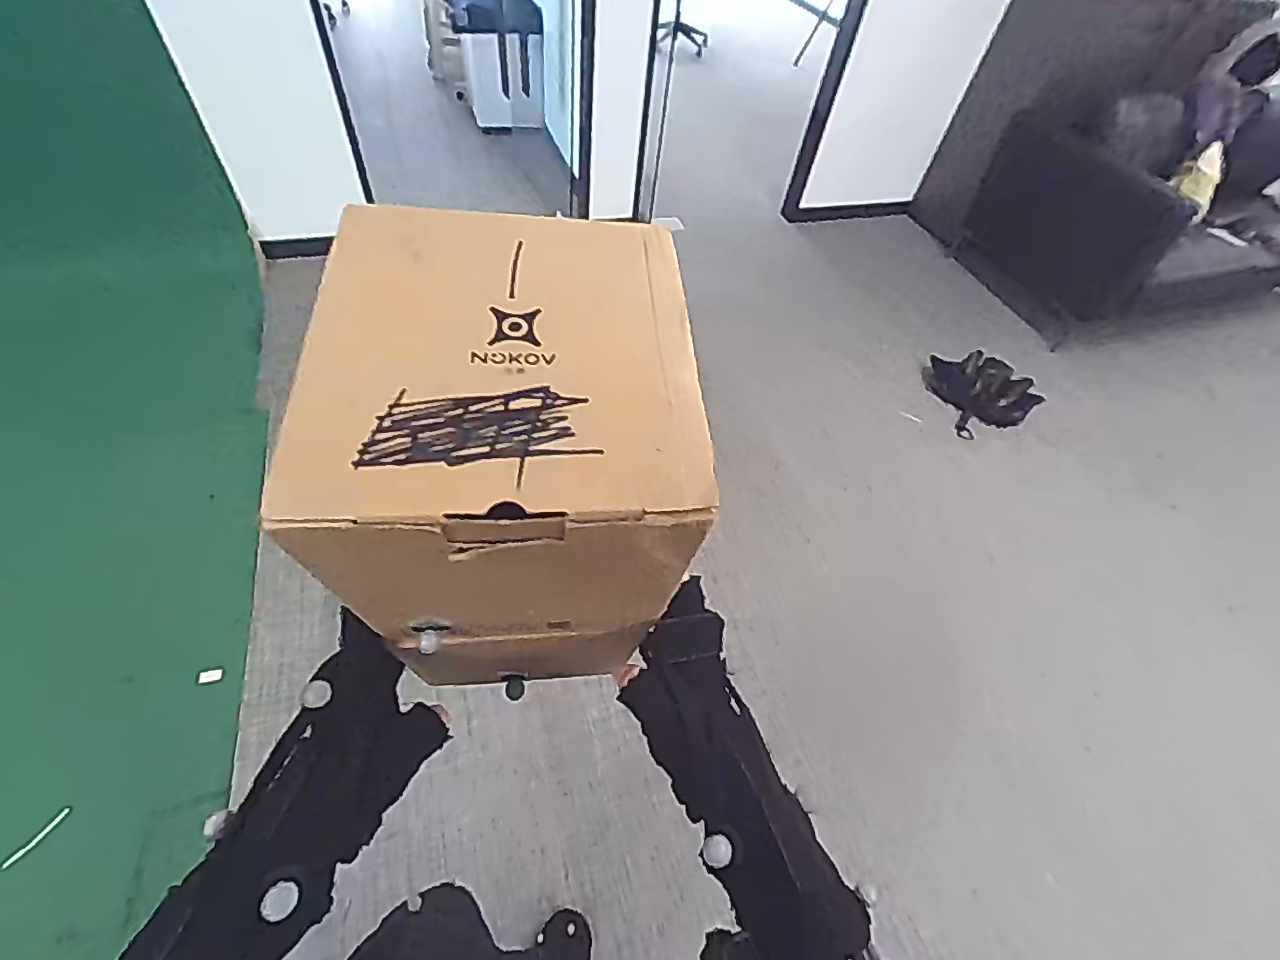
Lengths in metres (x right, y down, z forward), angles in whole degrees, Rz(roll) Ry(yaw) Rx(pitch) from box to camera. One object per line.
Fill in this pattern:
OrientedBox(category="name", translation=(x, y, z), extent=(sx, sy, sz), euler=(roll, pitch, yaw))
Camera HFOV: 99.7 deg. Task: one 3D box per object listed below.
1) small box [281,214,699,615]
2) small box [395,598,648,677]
OrientedBox(category="small box", translation=(-0.070, -0.024, 0.320), extent=(0.168, 0.176, 0.179), euler=(-1, 60, -9))
OrientedBox(category="small box", translation=(-0.093, 0.058, 0.460), extent=(0.168, 0.176, 0.179), euler=(-2, 61, -9))
